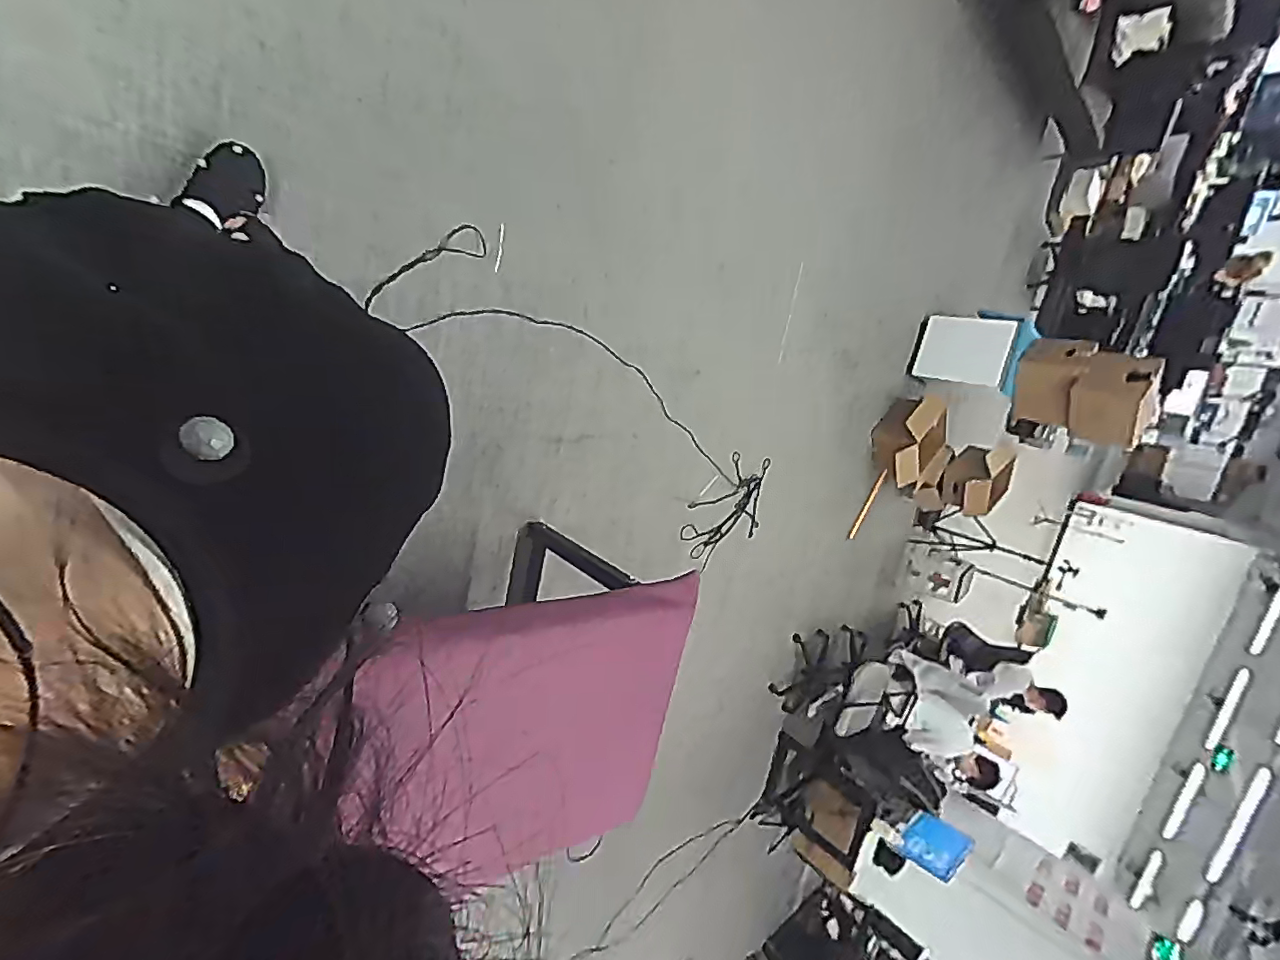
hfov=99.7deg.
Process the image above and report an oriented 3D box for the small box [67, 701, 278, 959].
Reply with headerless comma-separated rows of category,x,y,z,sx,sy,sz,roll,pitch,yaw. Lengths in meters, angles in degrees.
small box,-0.562,0.406,0.660,0.179,0.176,0.168,-3,109,-44
